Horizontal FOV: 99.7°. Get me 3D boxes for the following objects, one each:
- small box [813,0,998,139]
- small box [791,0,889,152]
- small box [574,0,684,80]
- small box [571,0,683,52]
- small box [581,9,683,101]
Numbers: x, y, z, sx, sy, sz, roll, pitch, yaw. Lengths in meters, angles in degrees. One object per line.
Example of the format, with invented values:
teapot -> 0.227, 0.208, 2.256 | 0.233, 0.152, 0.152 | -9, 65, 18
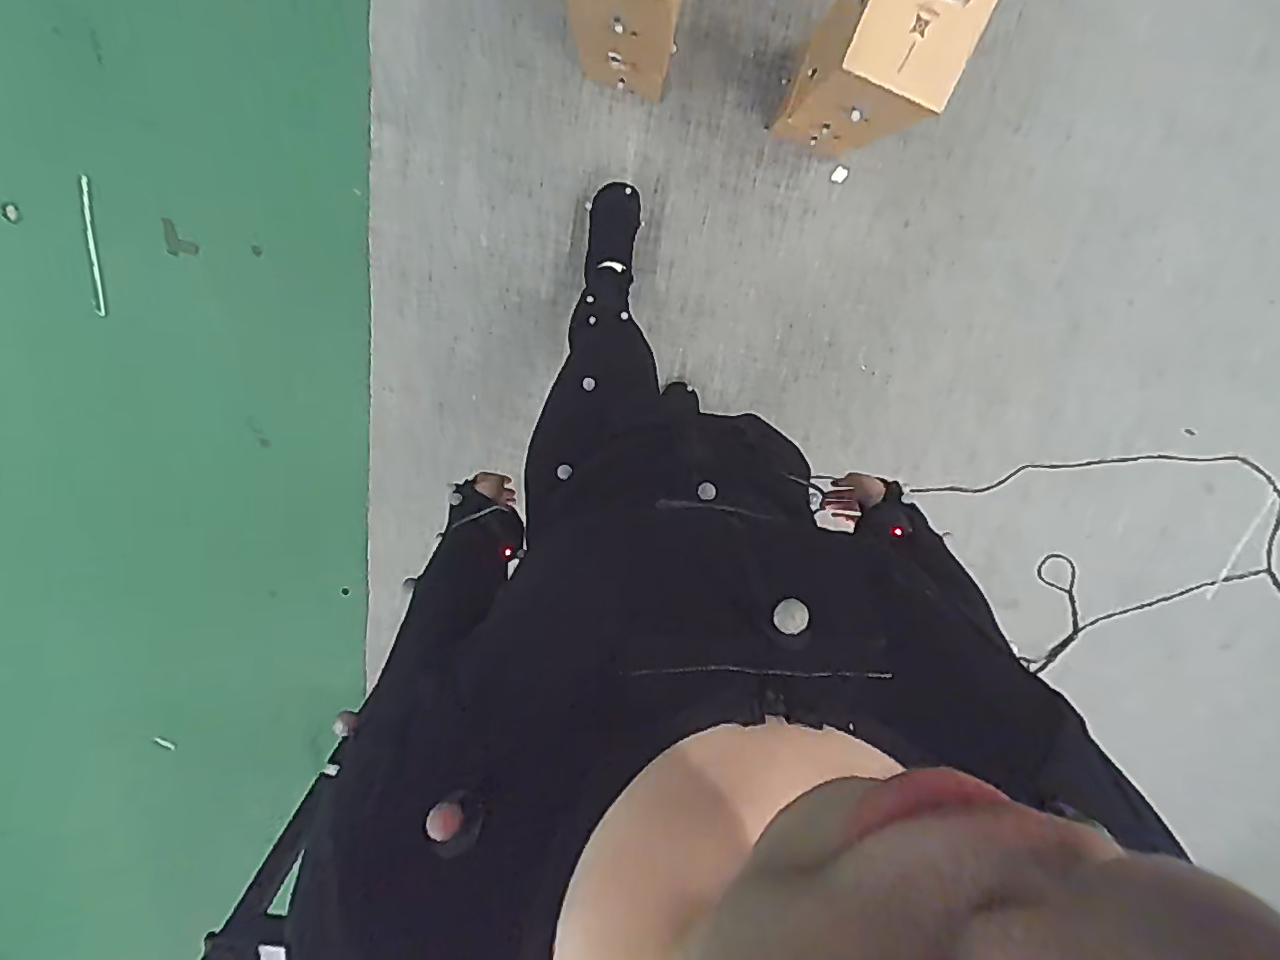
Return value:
small box -> 0.388, -0.655, 0.821 | 0.168, 0.176, 0.179 | 19, 113, -7
small box -> 0.392, -0.724, 0.970 | 0.168, 0.176, 0.179 | 18, 112, -6
small box -> -0.011, -0.832, 0.930 | 0.168, 0.176, 0.179 | 12, 113, -3
small box -> -0.011, -0.767, 0.778 | 0.168, 0.176, 0.179 | 12, 111, -3
small box -> -0.012, -0.895, 1.080 | 0.168, 0.176, 0.179 | 14, 112, -5
